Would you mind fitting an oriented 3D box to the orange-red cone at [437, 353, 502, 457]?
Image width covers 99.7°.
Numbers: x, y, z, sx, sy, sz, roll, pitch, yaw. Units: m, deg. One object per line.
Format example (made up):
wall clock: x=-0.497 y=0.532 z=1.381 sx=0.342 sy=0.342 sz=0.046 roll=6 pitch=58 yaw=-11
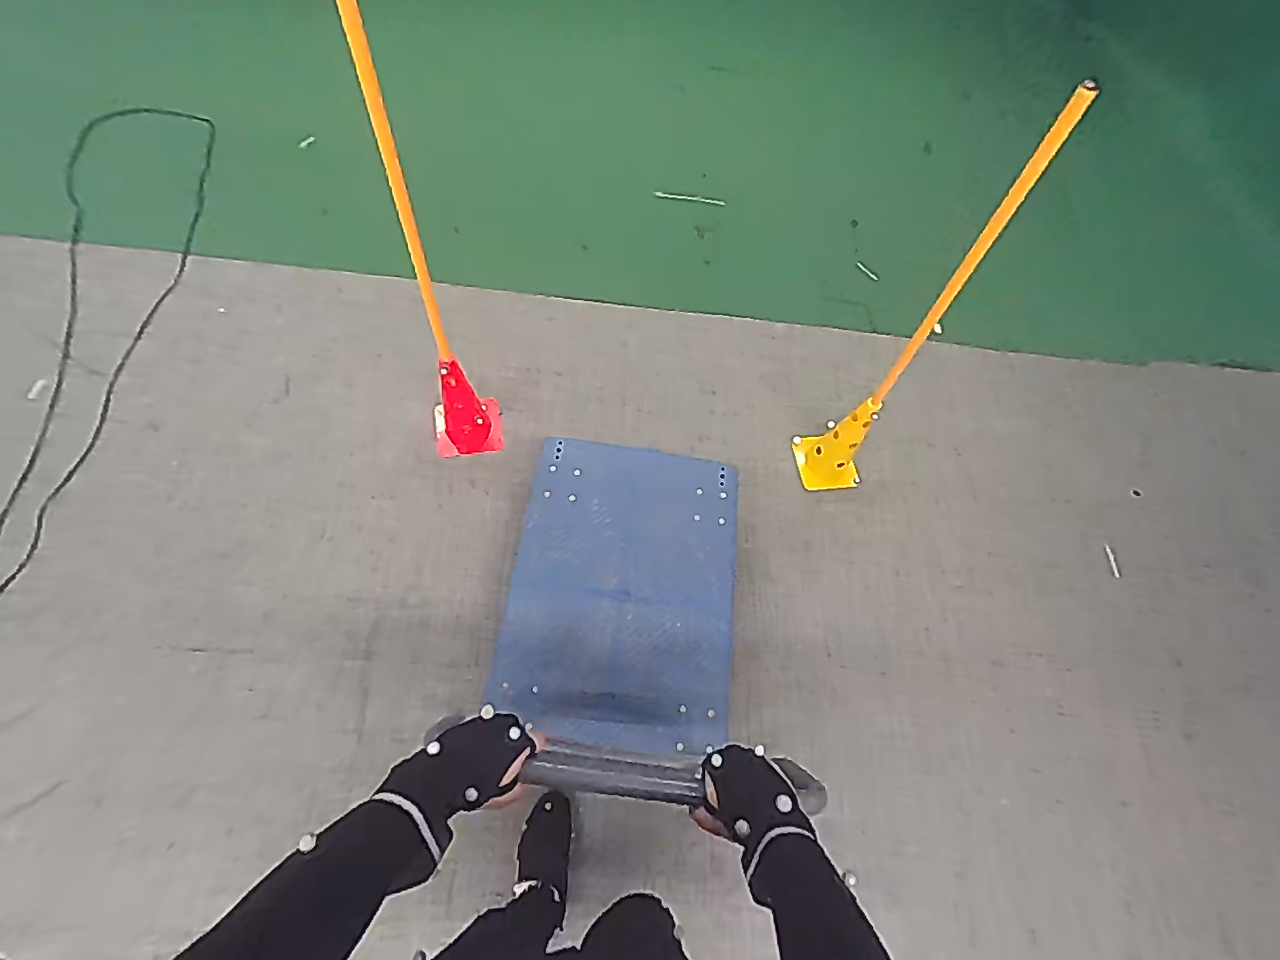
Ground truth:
orange-red cone: x=-0.533 y=-0.242 z=1.584 sx=0.199 sy=0.360 sz=0.198 roll=-8 pitch=65 yaw=-9
